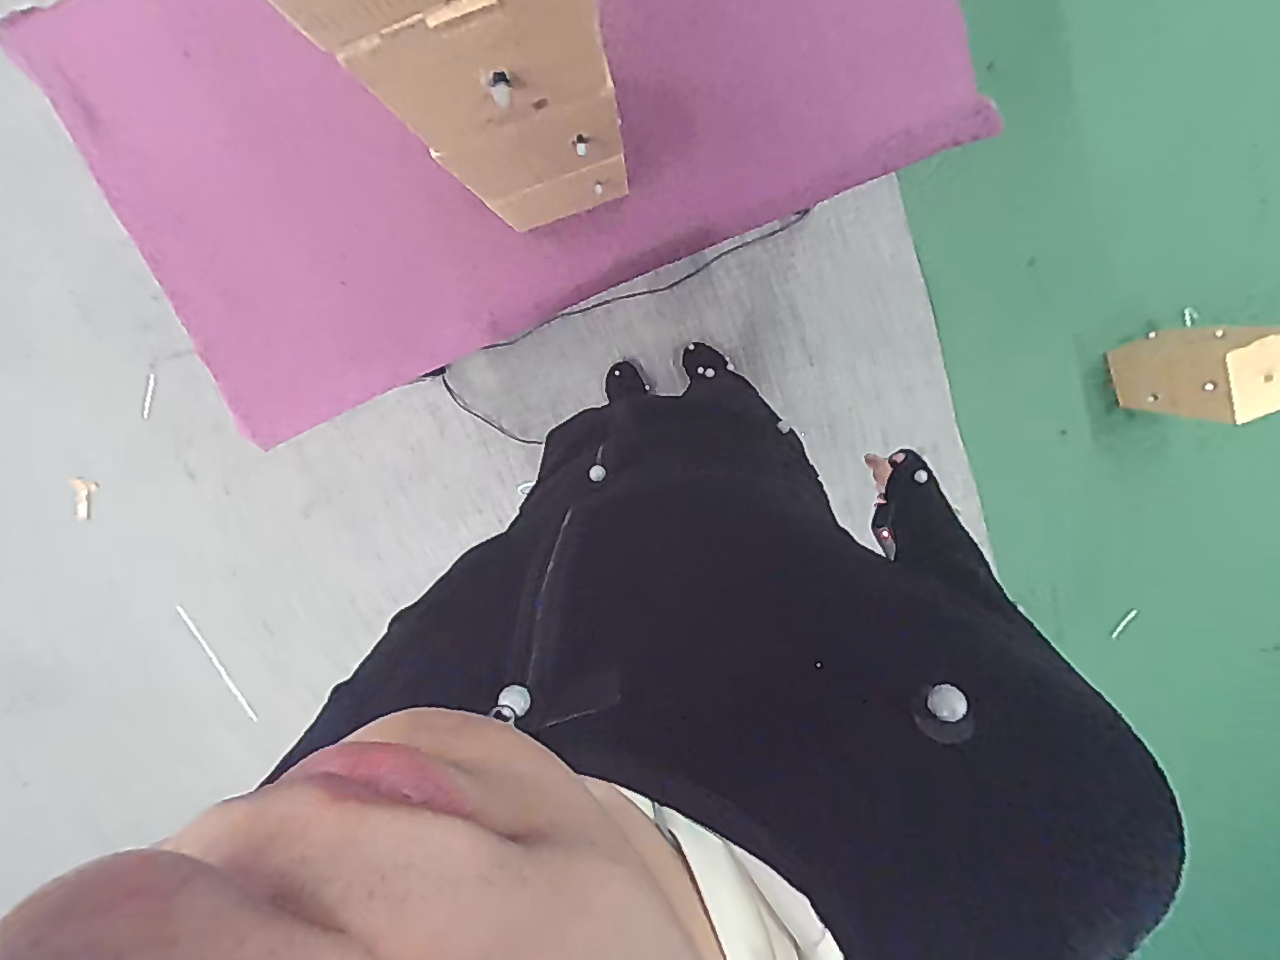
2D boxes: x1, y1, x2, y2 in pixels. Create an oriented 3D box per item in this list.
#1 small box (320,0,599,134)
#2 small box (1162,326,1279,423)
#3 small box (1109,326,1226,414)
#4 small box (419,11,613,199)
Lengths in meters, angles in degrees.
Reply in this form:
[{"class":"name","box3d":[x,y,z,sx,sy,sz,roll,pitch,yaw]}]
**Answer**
[{"class":"small box","box3d":[-0.135,-0.377,0.380,0.168,0.176,0.179,-18,103,5]},{"class":"small box","box3d":[1.414,-0.258,1.290,0.168,0.176,0.179,-23,102,7]},{"class":"small box","box3d":[1.418,-0.299,1.447,0.168,0.176,0.179,-25,103,7]},{"class":"small box","box3d":[-0.130,-0.409,0.540,0.179,0.176,0.168,-17,103,6]}]
